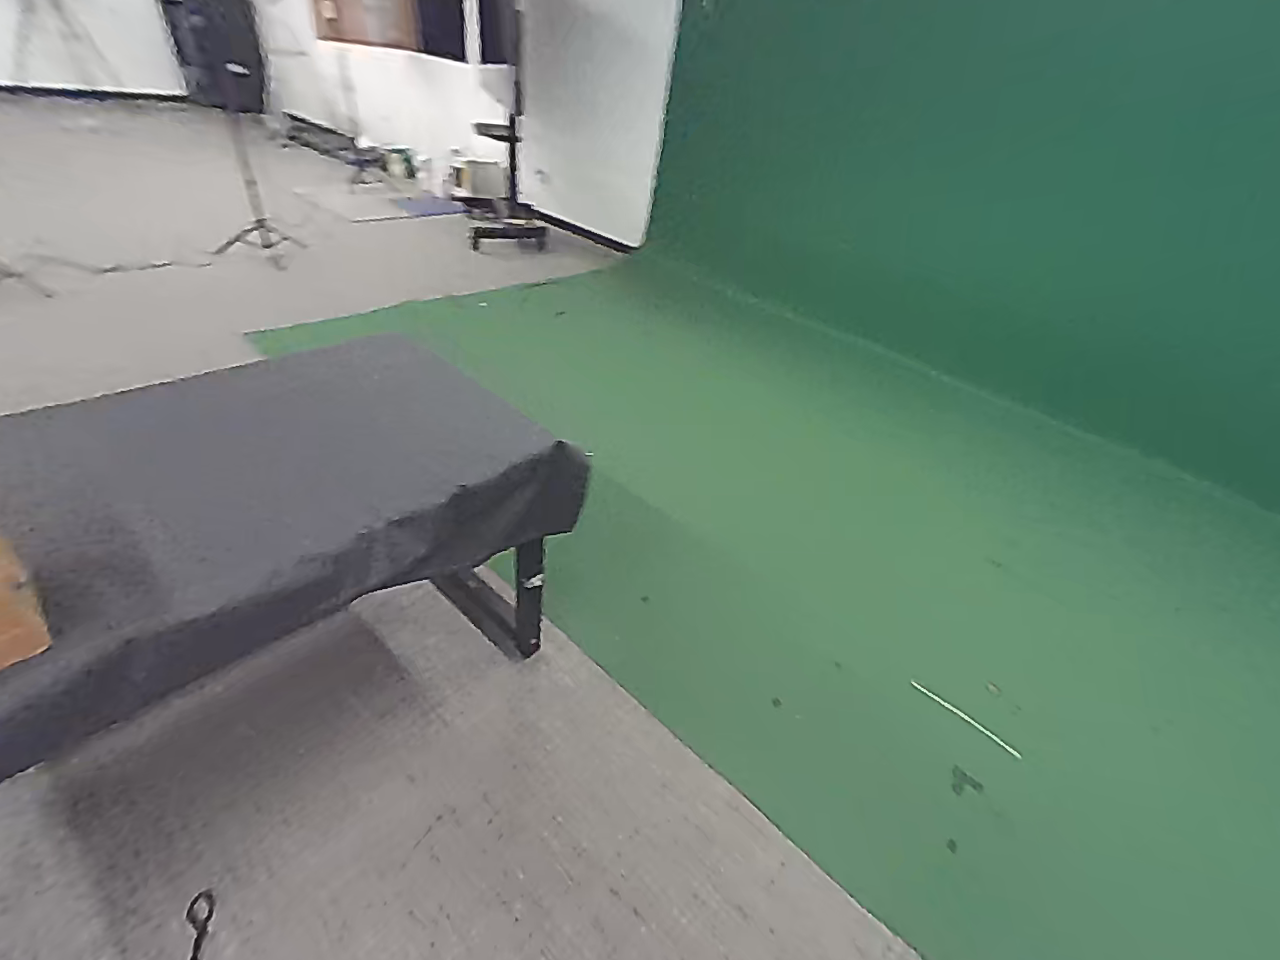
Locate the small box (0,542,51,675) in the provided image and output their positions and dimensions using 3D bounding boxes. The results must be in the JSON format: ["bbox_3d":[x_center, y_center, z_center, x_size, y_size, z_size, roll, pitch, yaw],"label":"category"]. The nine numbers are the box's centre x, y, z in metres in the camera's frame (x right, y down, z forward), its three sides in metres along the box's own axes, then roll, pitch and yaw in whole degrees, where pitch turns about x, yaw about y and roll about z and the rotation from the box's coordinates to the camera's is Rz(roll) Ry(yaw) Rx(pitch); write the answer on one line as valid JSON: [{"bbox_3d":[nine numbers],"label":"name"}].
[{"bbox_3d":[-0.794,0.134,0.569,0.168,0.176,0.179,32,42,29],"label":"small box"}]
